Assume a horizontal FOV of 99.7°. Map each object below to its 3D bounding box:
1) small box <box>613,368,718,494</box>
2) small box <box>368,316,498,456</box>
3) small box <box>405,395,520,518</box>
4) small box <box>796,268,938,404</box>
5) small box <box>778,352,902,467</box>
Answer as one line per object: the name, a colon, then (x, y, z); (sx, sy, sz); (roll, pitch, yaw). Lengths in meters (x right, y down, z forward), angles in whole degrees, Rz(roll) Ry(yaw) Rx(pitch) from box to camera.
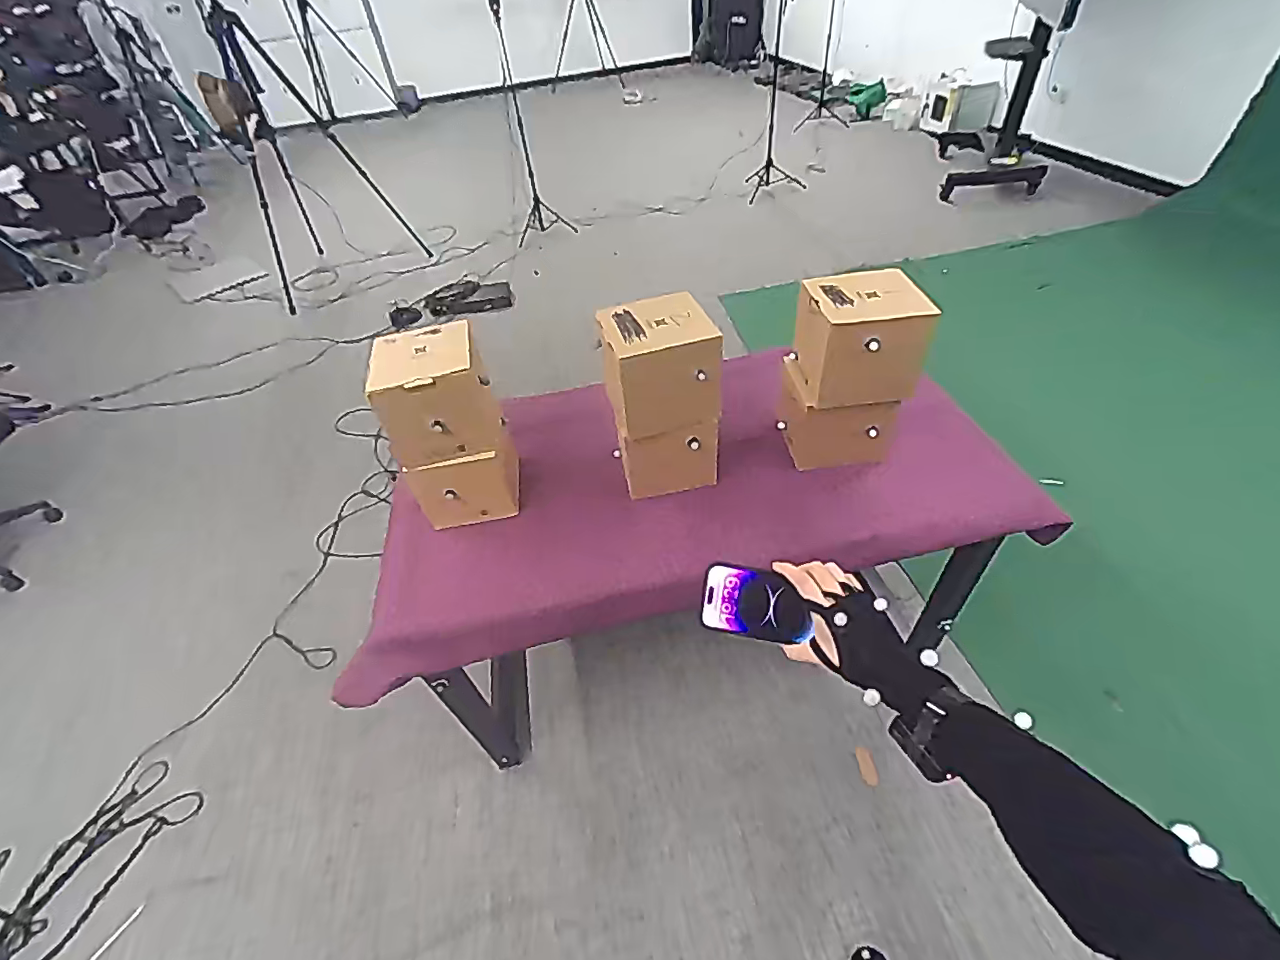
small box: (0.049, -0.095, 1.070); (0.179, 0.176, 0.168); (-10, 45, -2)
small box: (-0.355, -0.160, 0.956); (0.168, 0.176, 0.179); (-13, 46, -6)
small box: (-0.338, -0.040, 1.068); (0.168, 0.176, 0.179); (-10, 45, -2)
small box: (0.381, -0.249, 0.950); (0.179, 0.176, 0.168); (-6, 45, 1)
small box: (0.385, -0.144, 1.077); (0.179, 0.176, 0.168); (-6, 45, 2)
